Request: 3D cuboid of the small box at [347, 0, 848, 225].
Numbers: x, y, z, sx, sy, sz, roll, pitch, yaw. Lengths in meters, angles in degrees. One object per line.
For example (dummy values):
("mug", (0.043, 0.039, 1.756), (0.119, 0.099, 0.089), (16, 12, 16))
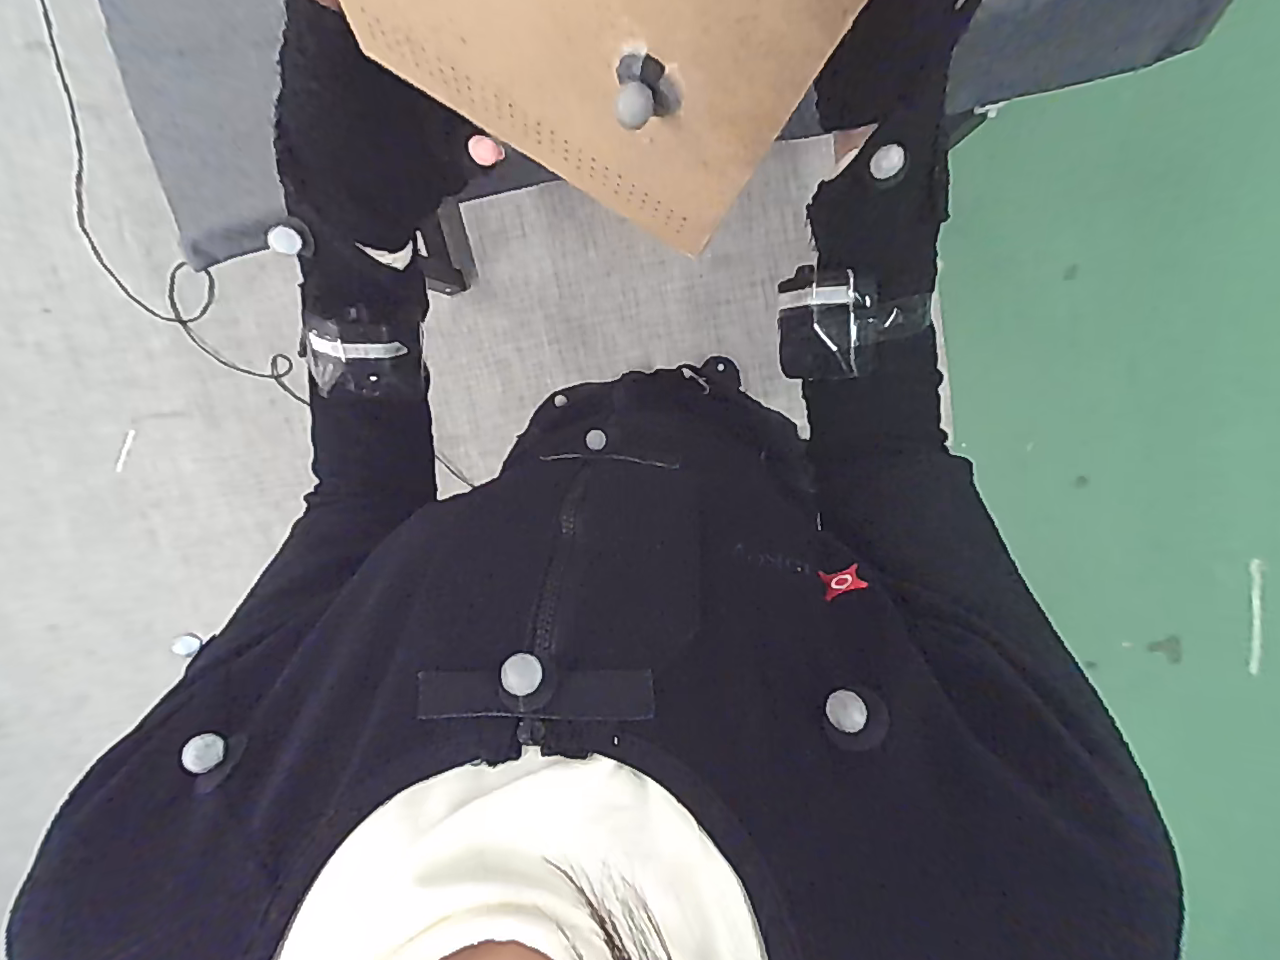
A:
("small box", (0.000, -0.221, 0.183), (0.179, 0.176, 0.168), (28, 86, -6))
